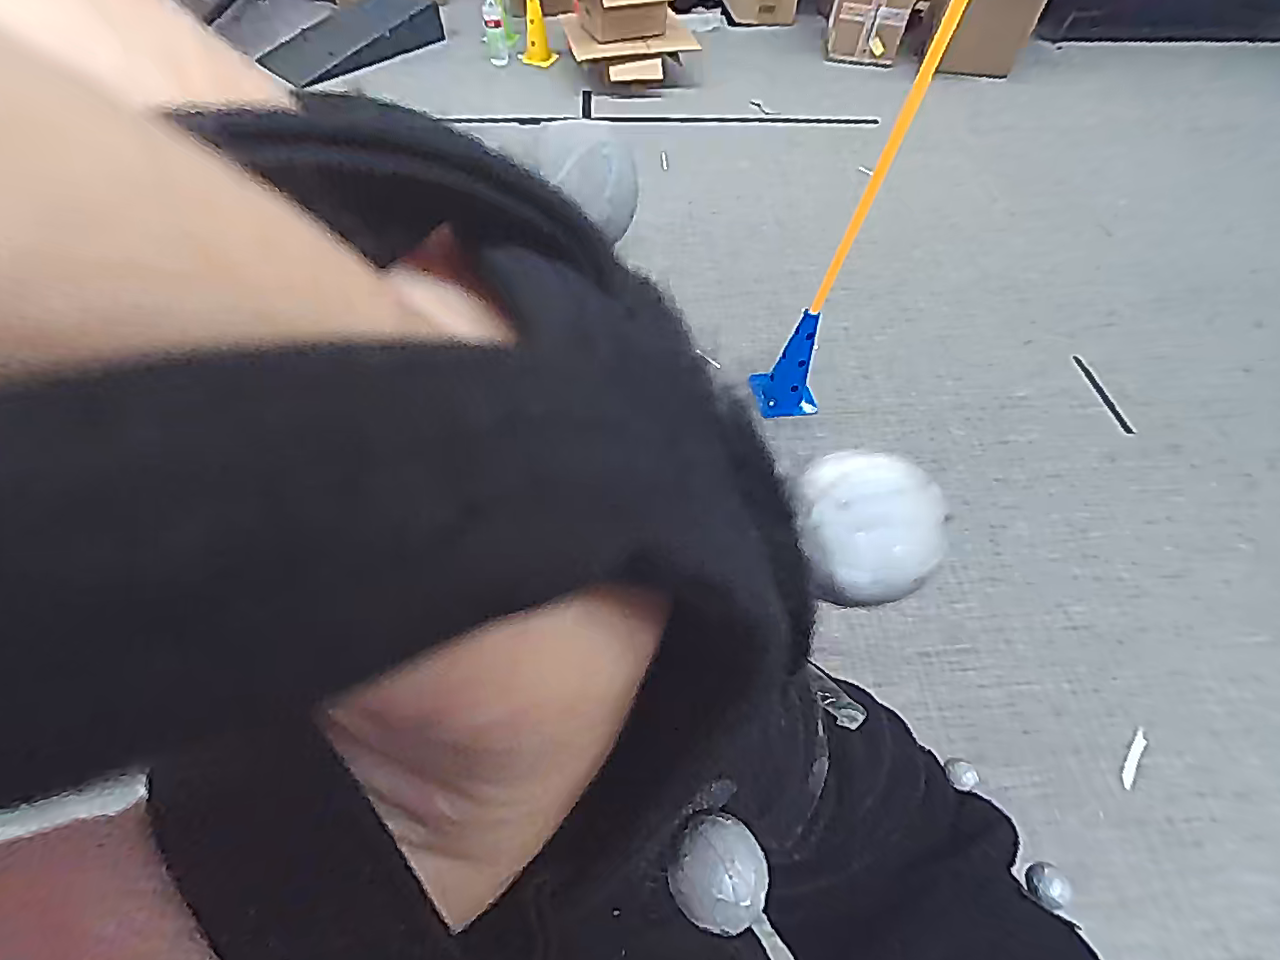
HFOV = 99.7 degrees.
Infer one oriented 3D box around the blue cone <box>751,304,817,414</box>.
[{"bbox_3d":[0.498,-0.392,1.730,0.193,0.380,0.192,-5,57,-6],"label":"blue cone"}]
